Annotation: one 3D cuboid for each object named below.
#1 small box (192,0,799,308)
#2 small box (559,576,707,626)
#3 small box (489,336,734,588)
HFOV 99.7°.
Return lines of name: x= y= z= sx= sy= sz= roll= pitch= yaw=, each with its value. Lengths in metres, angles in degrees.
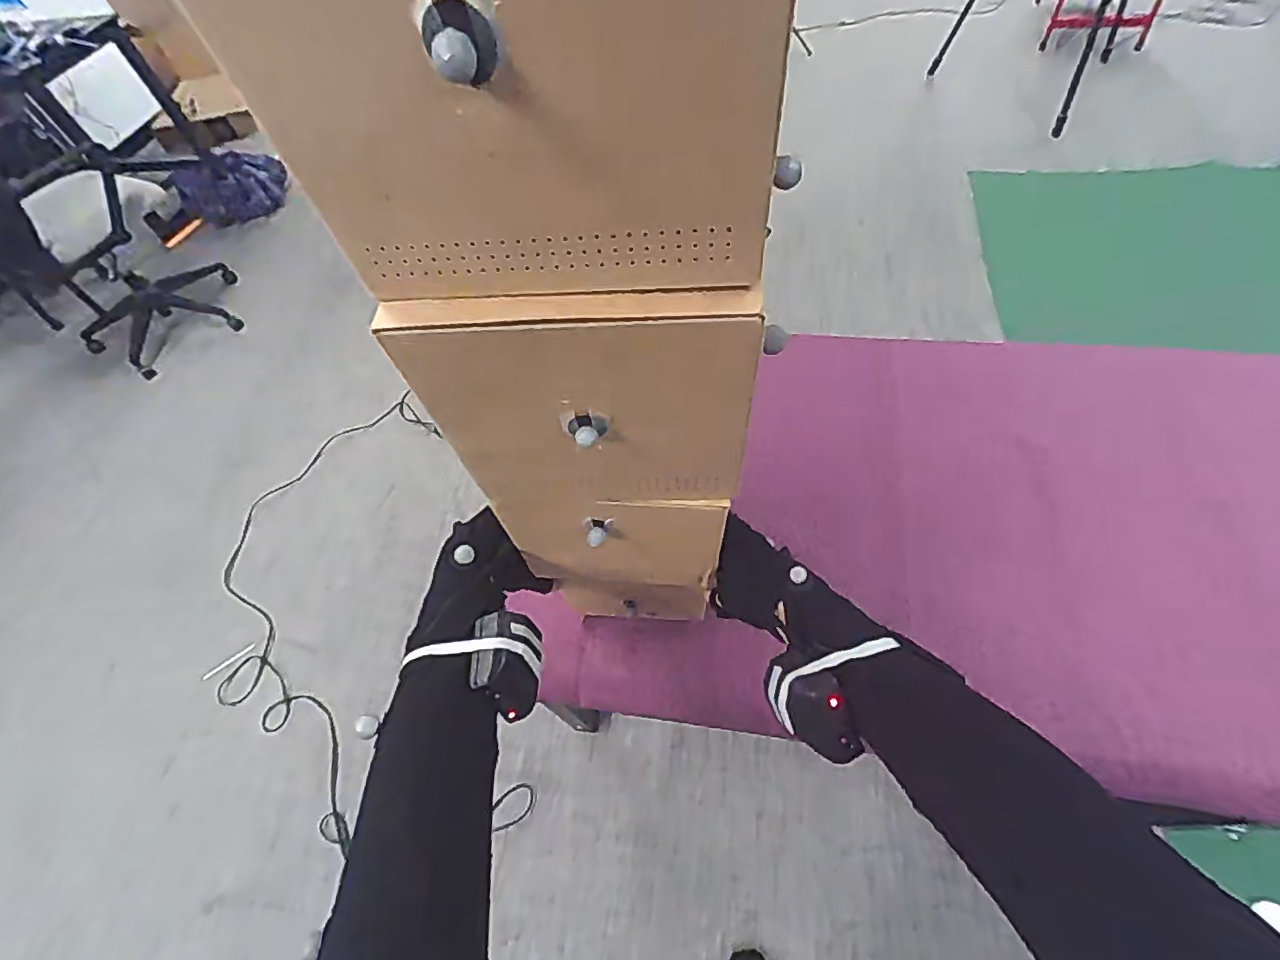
small box: x=-0.033 y=-0.186 z=0.214 sx=0.179 sy=0.176 sz=0.168 roll=0 pitch=60 yaw=7
small box: x=-0.005 y=0.058 z=0.640 sx=0.168 sy=0.176 sz=0.179 roll=3 pitch=60 yaw=5
small box: x=-0.012 y=-0.008 z=0.491 sx=0.179 sy=0.176 sz=0.168 roll=3 pitch=61 yaw=6
